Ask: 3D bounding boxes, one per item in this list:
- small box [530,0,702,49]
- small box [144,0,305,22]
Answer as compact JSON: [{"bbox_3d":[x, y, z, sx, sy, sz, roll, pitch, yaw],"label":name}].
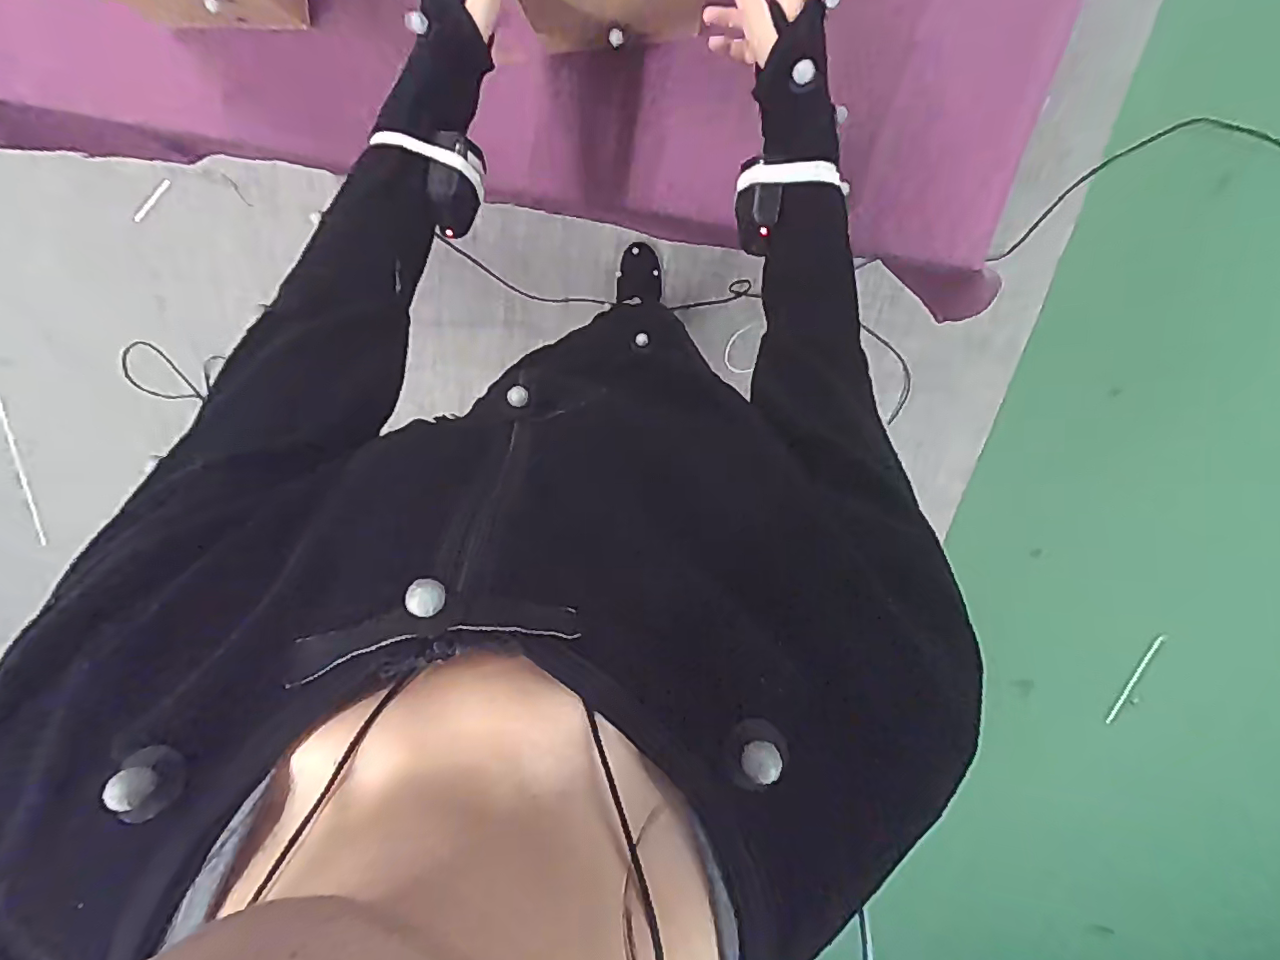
[{"bbox_3d":[-0.028,-0.518,0.472,0.168,0.176,0.179,-2,112,3],"label":"small box"},{"bbox_3d":[-0.433,-0.546,0.480,0.168,0.176,0.179,3,112,0],"label":"small box"}]
